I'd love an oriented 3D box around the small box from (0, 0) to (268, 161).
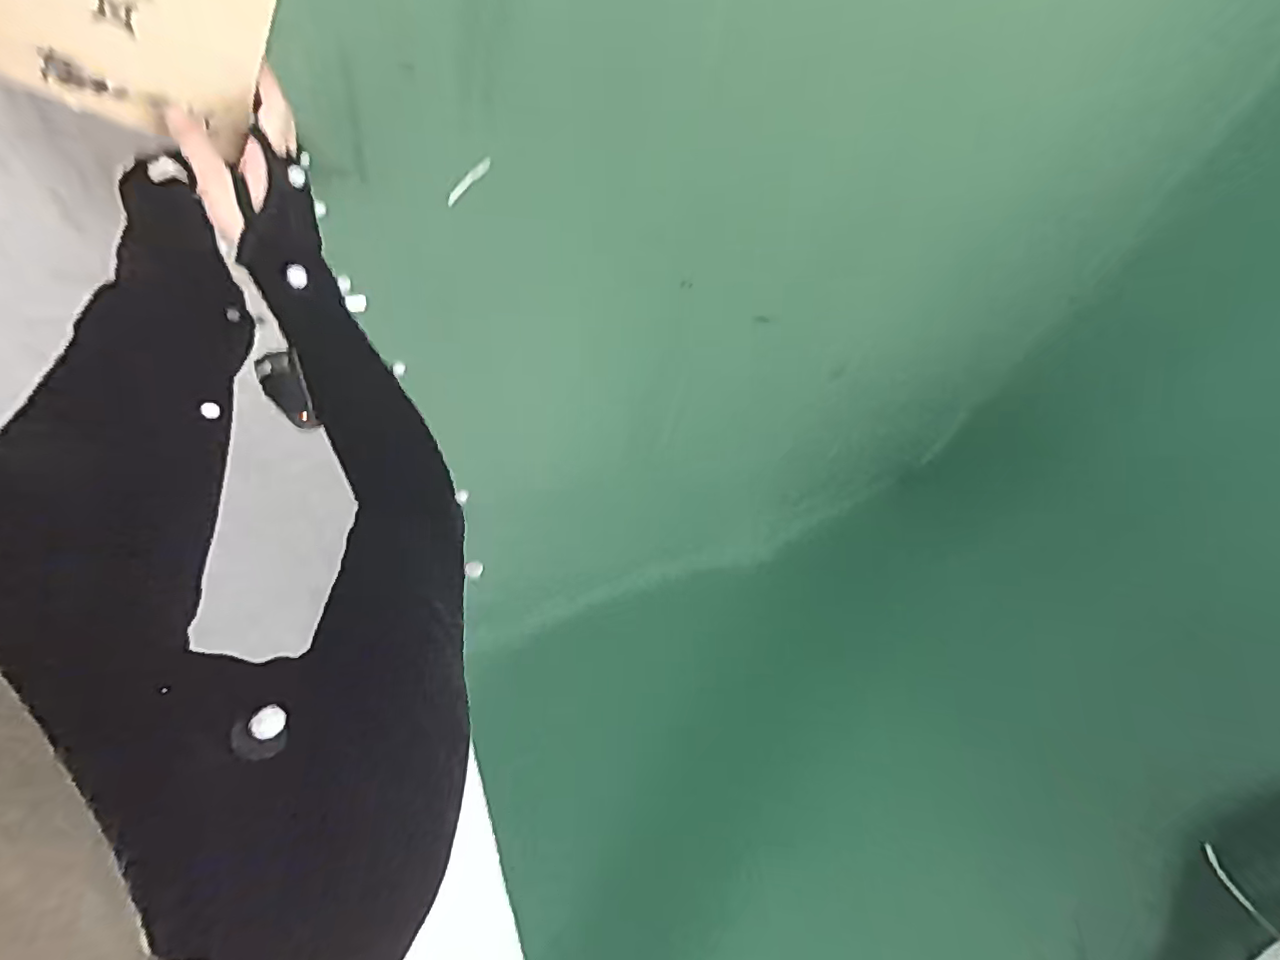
[{"bbox_3d":[-0.390,-0.391,0.392,0.168,0.176,0.179,2,144,-48],"label":"small box"}]
